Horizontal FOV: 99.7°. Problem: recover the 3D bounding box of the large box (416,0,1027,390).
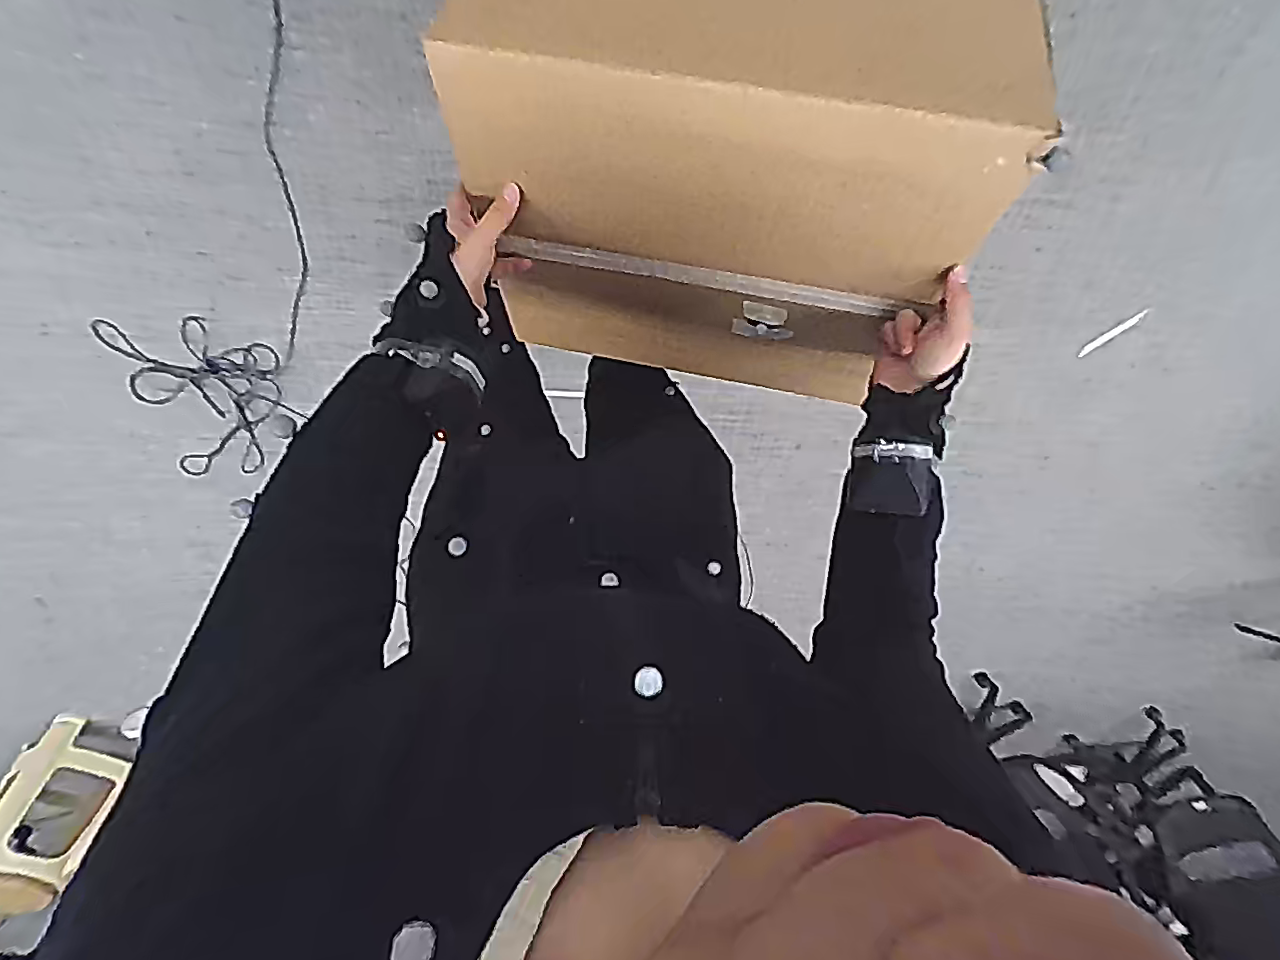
[{"bbox_3d":[0.069,-0.328,0.539,0.408,0.320,0.320,10,158,4],"label":"large box"}]
